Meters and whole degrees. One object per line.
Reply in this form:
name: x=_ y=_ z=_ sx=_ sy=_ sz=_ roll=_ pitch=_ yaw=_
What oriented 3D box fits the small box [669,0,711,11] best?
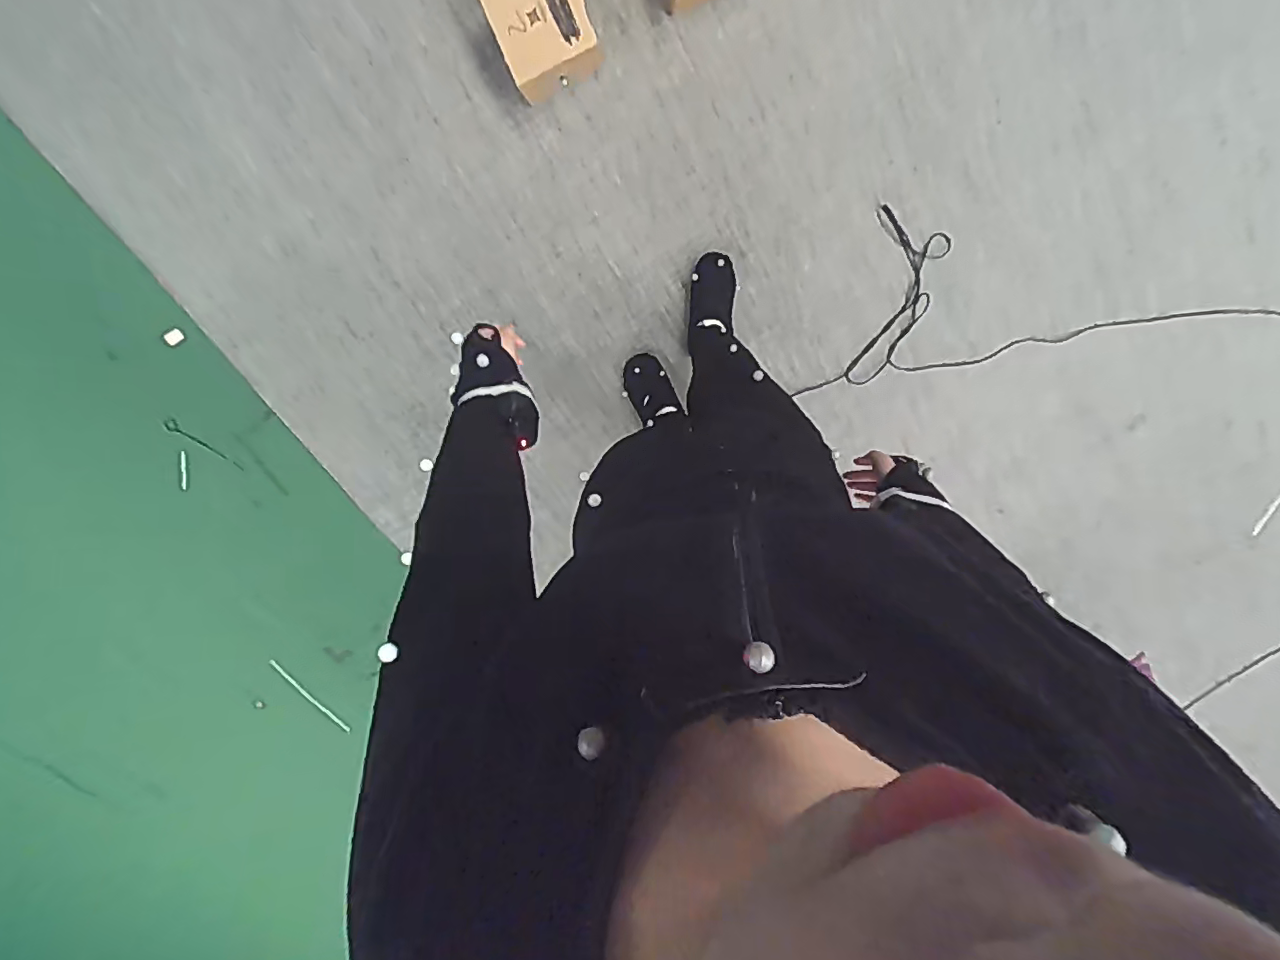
small box: x=0.126 y=-1.025 z=1.008 sx=0.179 sy=0.176 sz=0.168 roll=-15 pitch=112 yaw=5
